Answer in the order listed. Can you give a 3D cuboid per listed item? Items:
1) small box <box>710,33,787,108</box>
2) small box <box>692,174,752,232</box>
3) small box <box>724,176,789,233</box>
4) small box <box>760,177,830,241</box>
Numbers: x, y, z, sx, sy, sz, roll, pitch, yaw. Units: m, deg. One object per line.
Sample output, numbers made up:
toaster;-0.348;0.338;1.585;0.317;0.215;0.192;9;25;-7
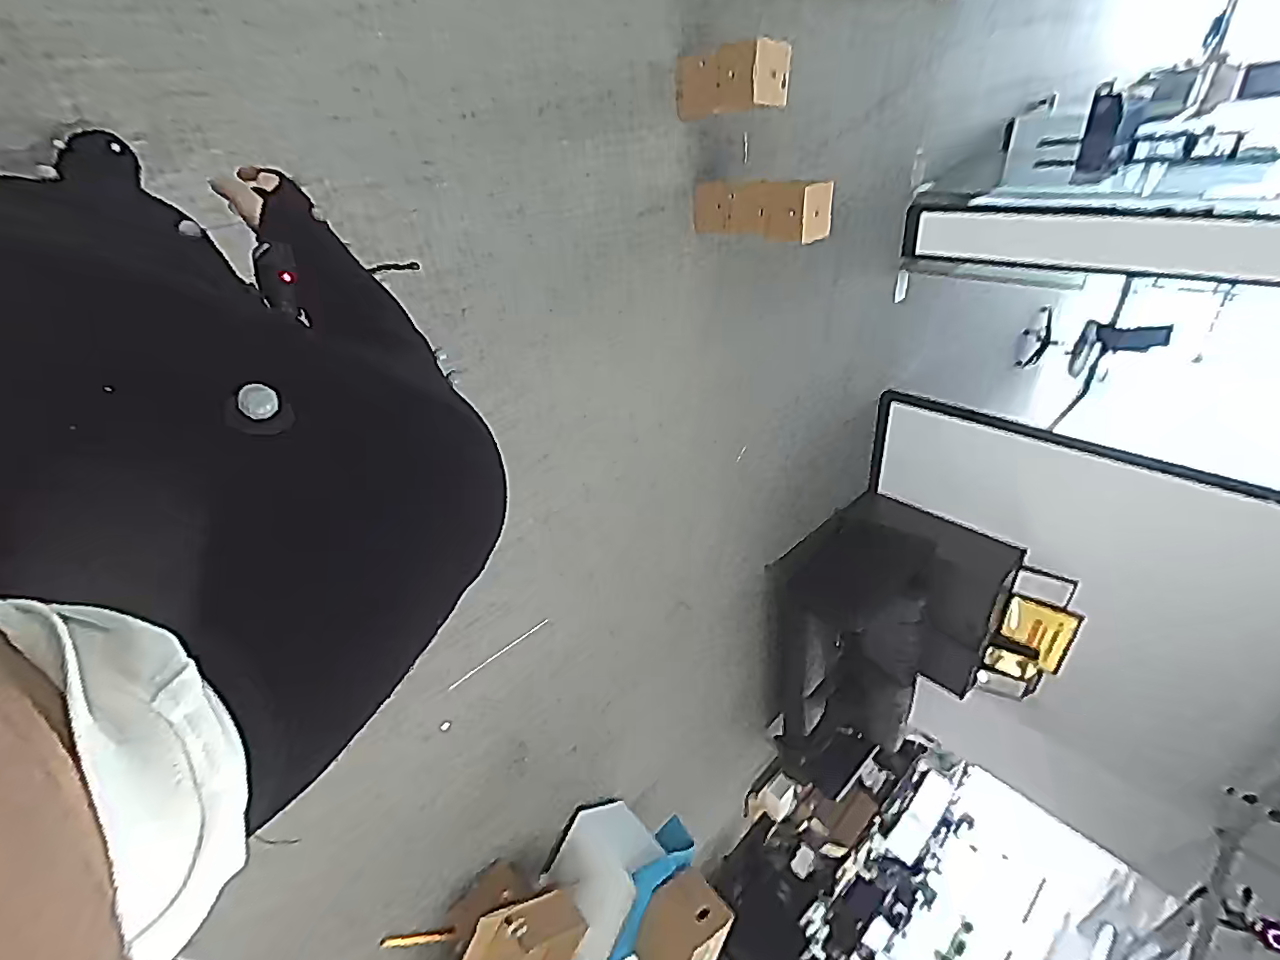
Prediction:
small box;0.342;-1.300;1.728;0.179;0.176;0.168;-24;126;-34
small box;0.314;-1.062;2.072;0.168;0.176;0.179;-30;129;-30
small box;0.419;-1.000;1.963;0.179;0.176;0.168;-29;129;-32
small box;0.527;-0.936;1.860;0.168;0.176;0.179;-30;129;-31
